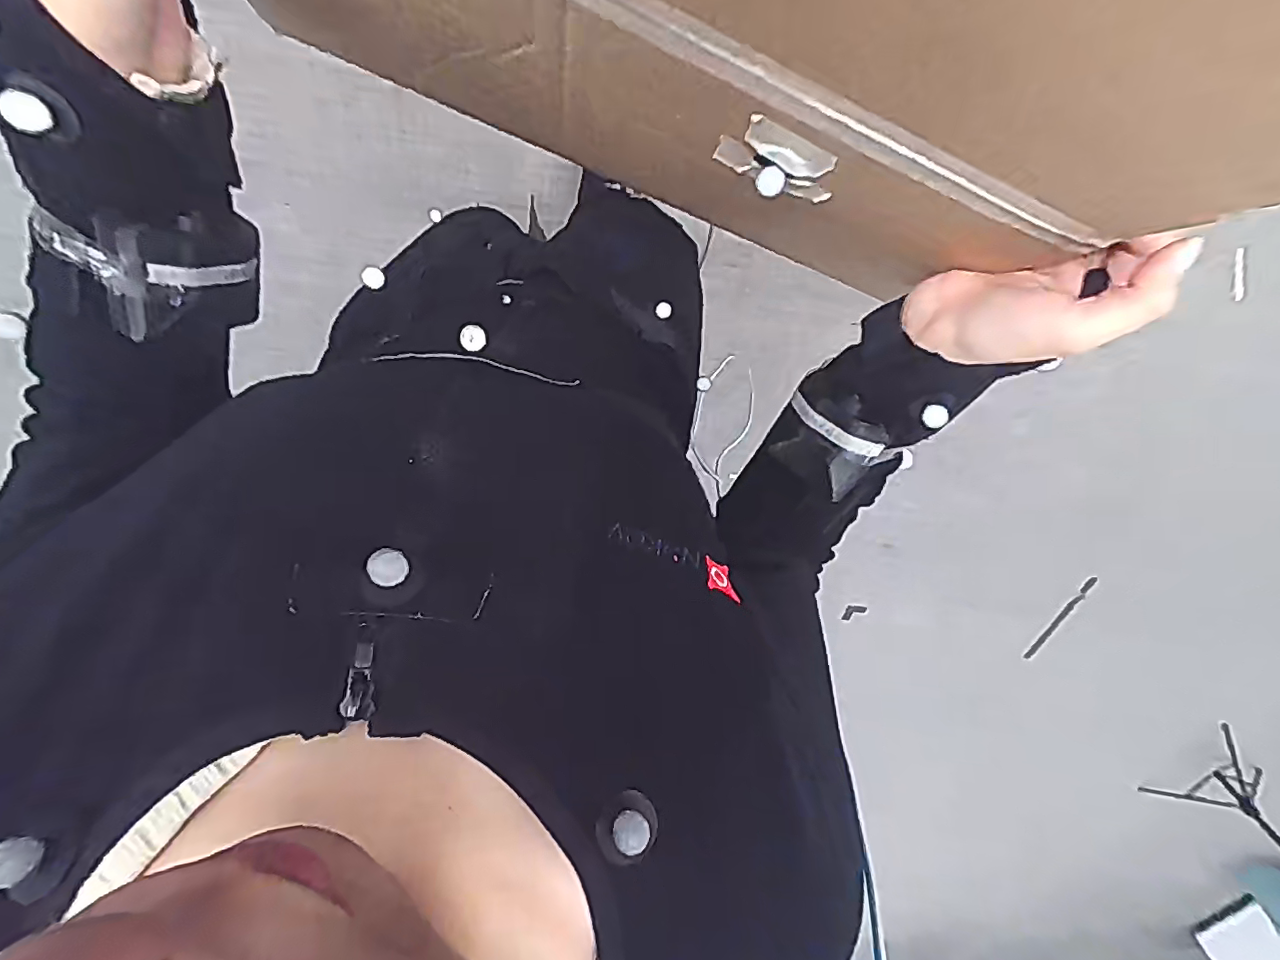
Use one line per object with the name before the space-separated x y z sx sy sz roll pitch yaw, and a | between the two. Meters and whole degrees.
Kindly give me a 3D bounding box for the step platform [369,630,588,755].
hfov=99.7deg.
step platform | -0.527 0.716 1.805 0.684 0.204 0.286 13 121 -9
